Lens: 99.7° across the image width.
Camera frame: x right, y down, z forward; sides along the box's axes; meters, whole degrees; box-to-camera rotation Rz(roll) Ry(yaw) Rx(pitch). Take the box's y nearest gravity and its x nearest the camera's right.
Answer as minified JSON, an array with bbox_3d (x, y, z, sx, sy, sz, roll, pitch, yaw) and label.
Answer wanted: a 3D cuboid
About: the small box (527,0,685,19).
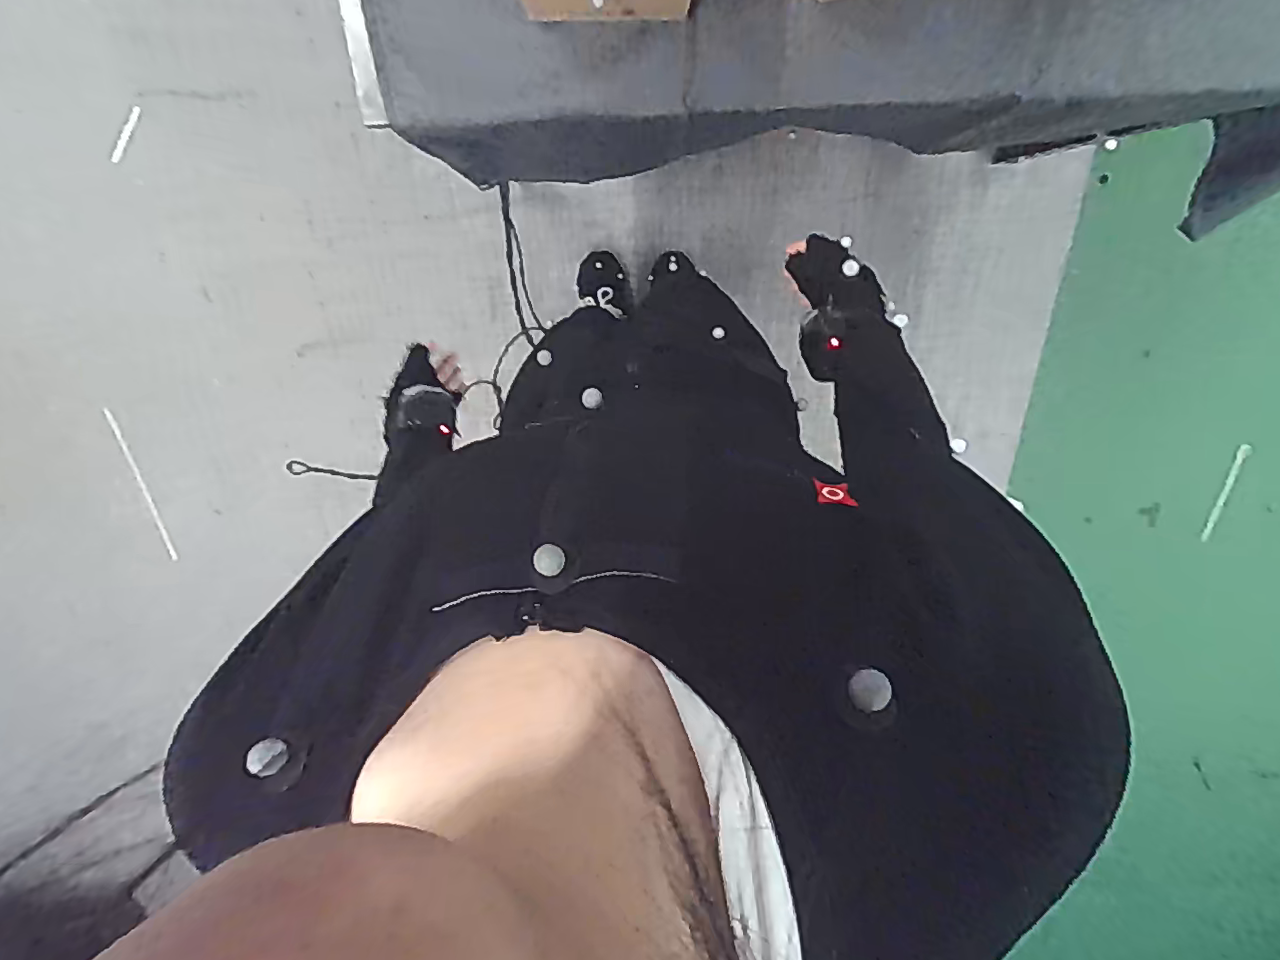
[{"bbox_3d":[-0.034,-0.520,0.452,0.168,0.176,0.179,-1,114,-1],"label":"small box"}]

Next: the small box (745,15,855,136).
[{"bbox_3d":[0.321,-0.826,1.118,0.179,0.176,0.168,-4,114,2],"label":"small box"}]
